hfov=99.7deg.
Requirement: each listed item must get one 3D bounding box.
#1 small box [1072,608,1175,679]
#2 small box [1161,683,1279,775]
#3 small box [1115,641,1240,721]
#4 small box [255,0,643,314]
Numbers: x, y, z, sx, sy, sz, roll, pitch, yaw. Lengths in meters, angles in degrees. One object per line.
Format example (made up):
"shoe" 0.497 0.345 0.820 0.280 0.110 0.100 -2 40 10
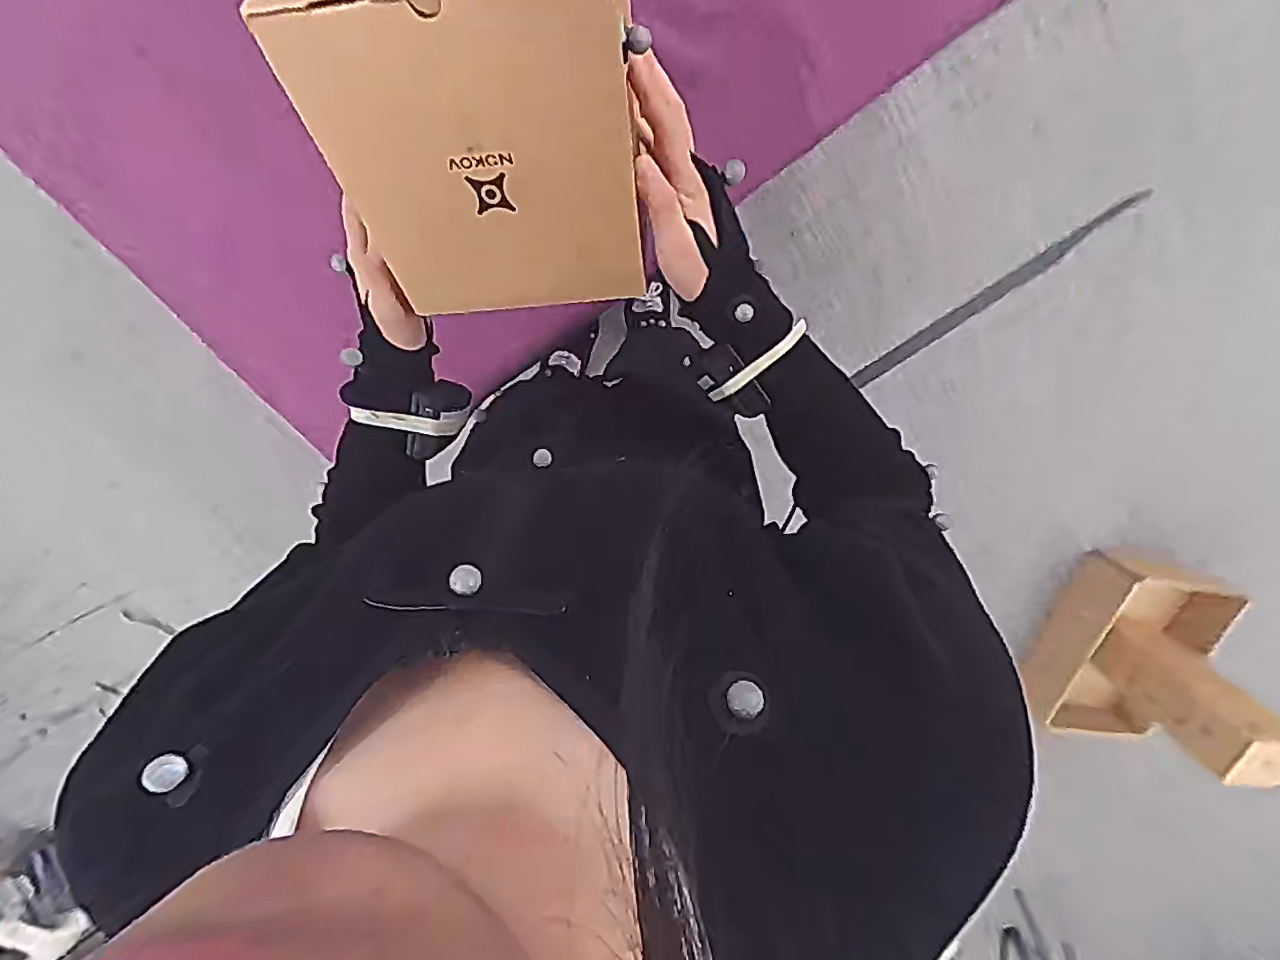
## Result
"small box" 1.597 0.542 1.782 0.179 0.176 0.168 8 114 -6
"small box" 1.614 0.679 1.486 0.179 0.176 0.168 3 116 -4
"small box" 1.608 0.605 1.633 0.179 0.176 0.168 3 116 -6
"small box" -0.085 -0.235 0.348 0.168 0.176 0.179 -3 149 4
